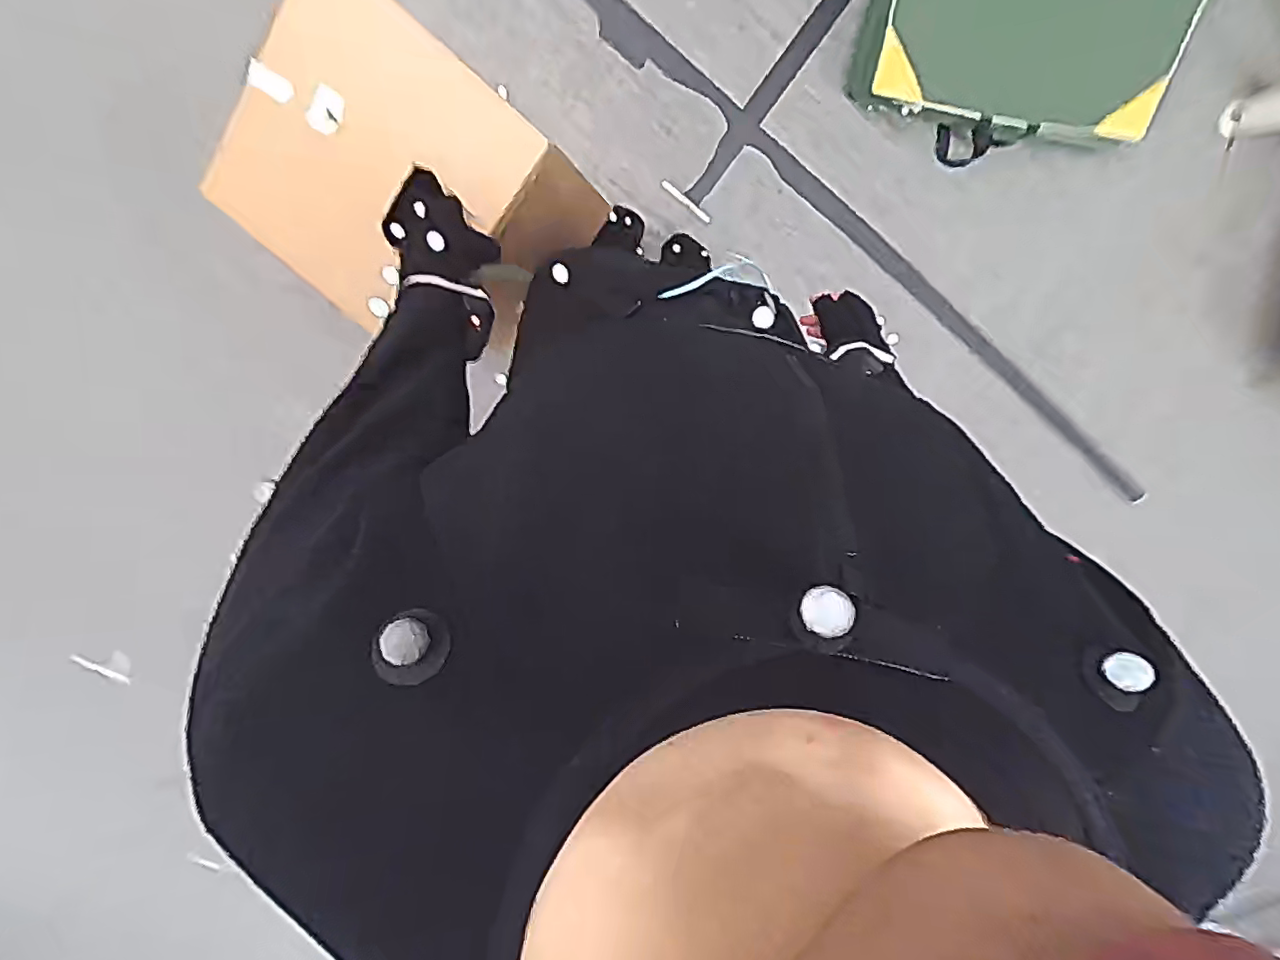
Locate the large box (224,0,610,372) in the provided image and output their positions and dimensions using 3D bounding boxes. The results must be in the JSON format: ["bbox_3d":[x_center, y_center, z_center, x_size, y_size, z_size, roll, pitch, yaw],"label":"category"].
[{"bbox_3d":[-0.286,-0.401,0.811,0.320,0.408,0.320,40,108,-7],"label":"large box"}]
